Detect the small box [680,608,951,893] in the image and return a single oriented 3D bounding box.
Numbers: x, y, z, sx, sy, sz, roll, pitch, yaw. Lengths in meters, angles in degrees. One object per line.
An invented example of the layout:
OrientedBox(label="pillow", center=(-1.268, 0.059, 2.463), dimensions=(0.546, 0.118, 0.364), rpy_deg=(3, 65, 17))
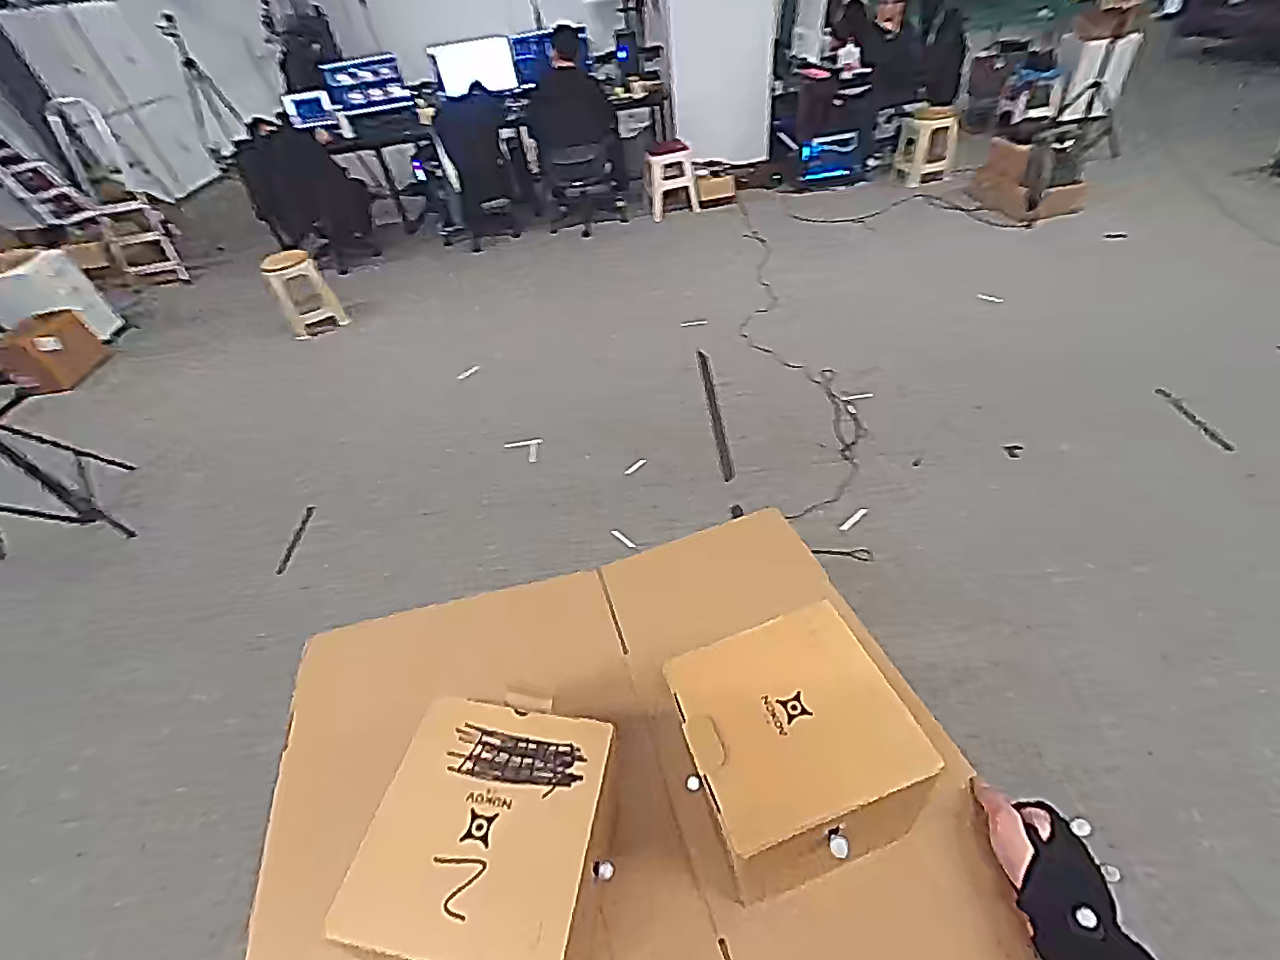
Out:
OrientedBox(label="small box", center=(0.152, 0.259, 0.521), dimensions=(0.179, 0.176, 0.168), rpy_deg=(-18, 42, -6))
